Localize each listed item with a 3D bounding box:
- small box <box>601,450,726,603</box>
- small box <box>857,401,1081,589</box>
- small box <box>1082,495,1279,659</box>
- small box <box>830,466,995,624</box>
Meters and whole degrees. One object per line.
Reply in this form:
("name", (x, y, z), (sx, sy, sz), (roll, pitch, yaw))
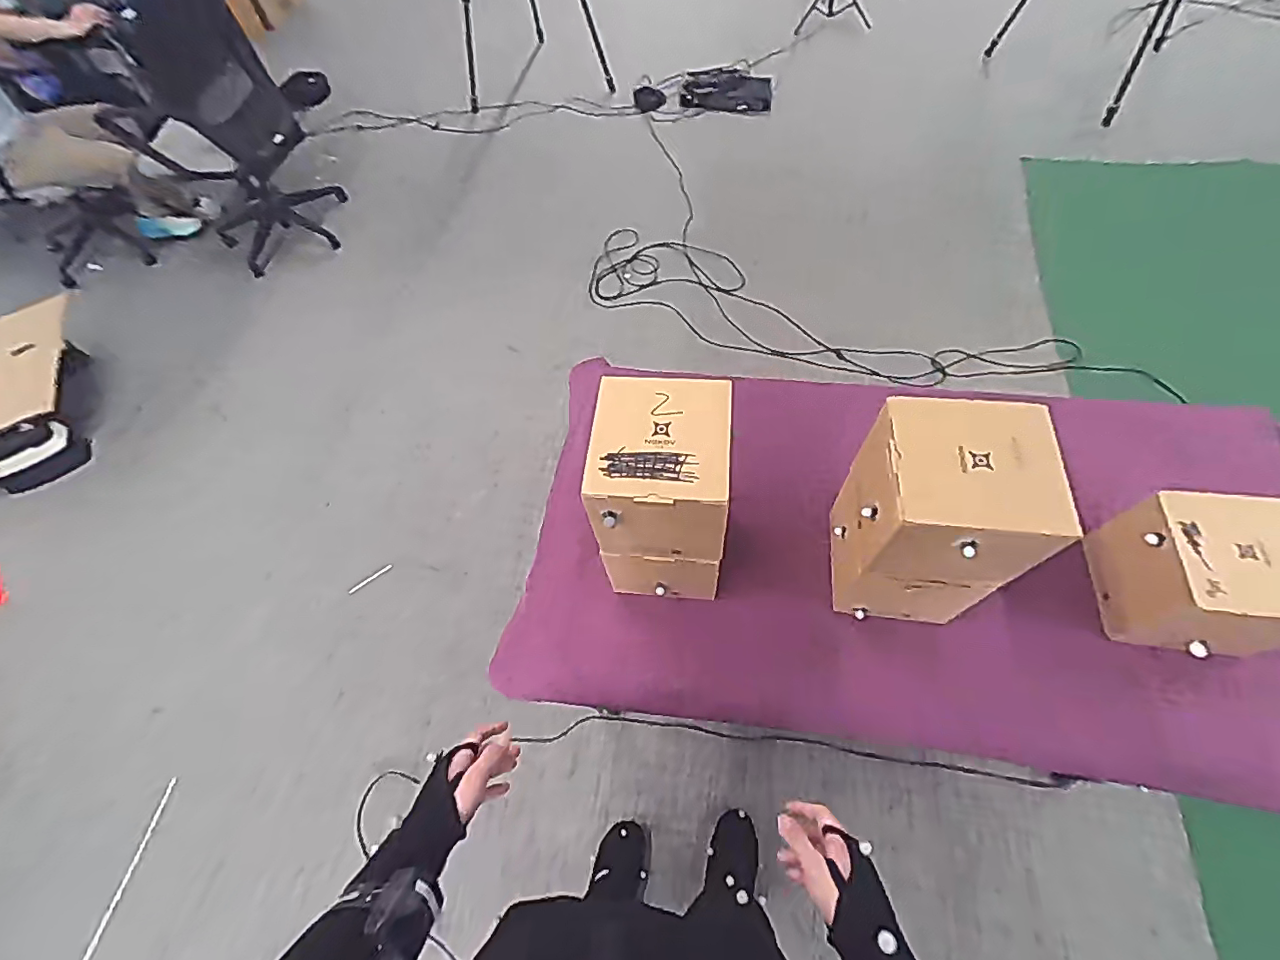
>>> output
("small box", (0.041, 0.075, 0.840), (0.168, 0.176, 0.179), (4, 61, 7))
("small box", (0.372, 0.024, 0.655), (0.179, 0.176, 0.168), (5, 62, 7))
("small box", (0.769, 0.140, 0.743), (0.179, 0.176, 0.168), (6, 61, 8))
("small box", (0.384, 0.101, 0.798), (0.168, 0.176, 0.179), (5, 60, 7))
